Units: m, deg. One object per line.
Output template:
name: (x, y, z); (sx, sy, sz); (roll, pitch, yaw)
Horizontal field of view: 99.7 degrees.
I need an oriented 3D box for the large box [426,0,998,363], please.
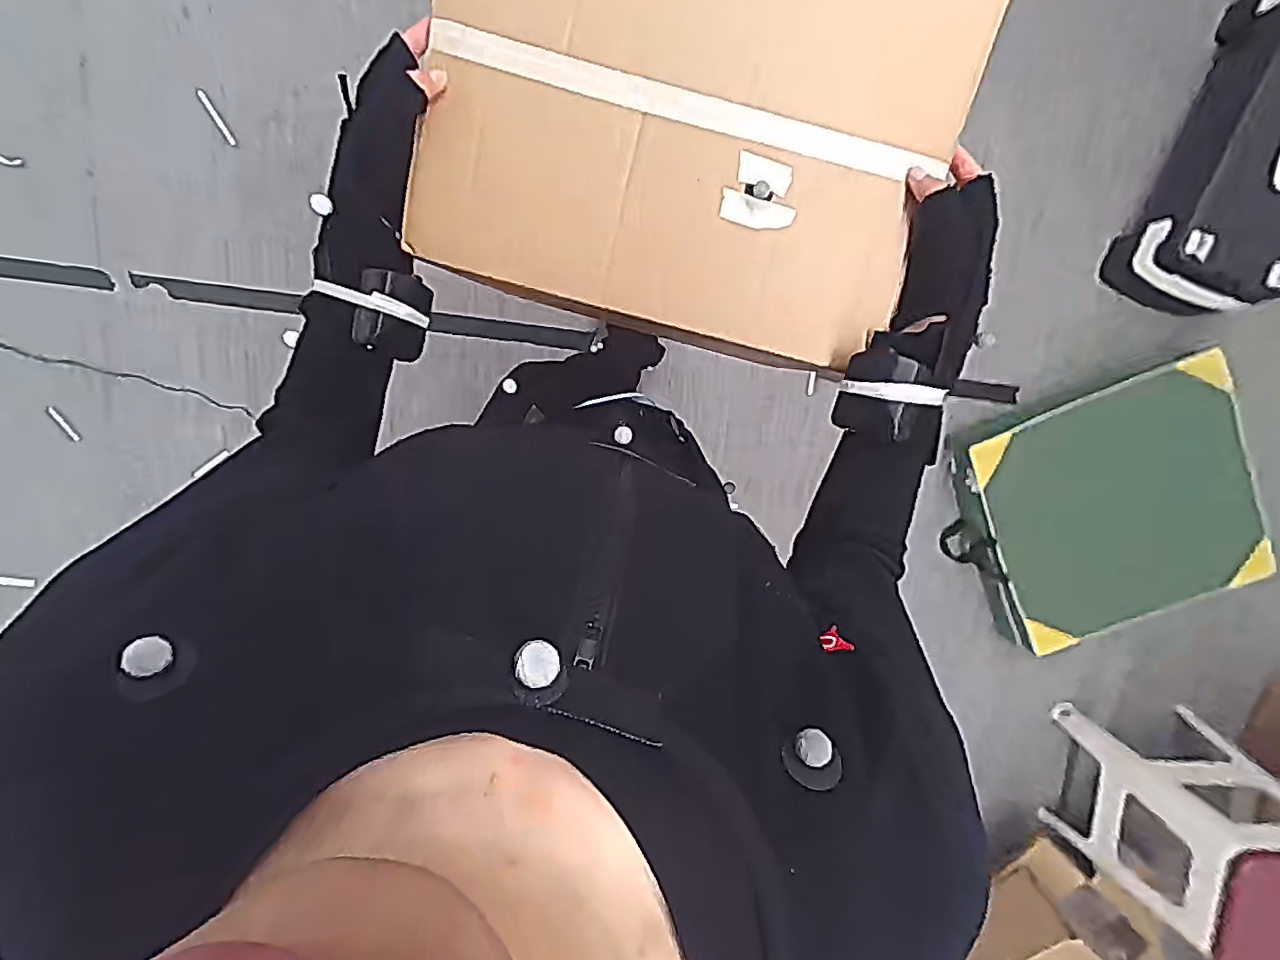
large box: (0.047, -0.323, 0.570); (0.408, 0.320, 0.320); (14, 104, -3)
